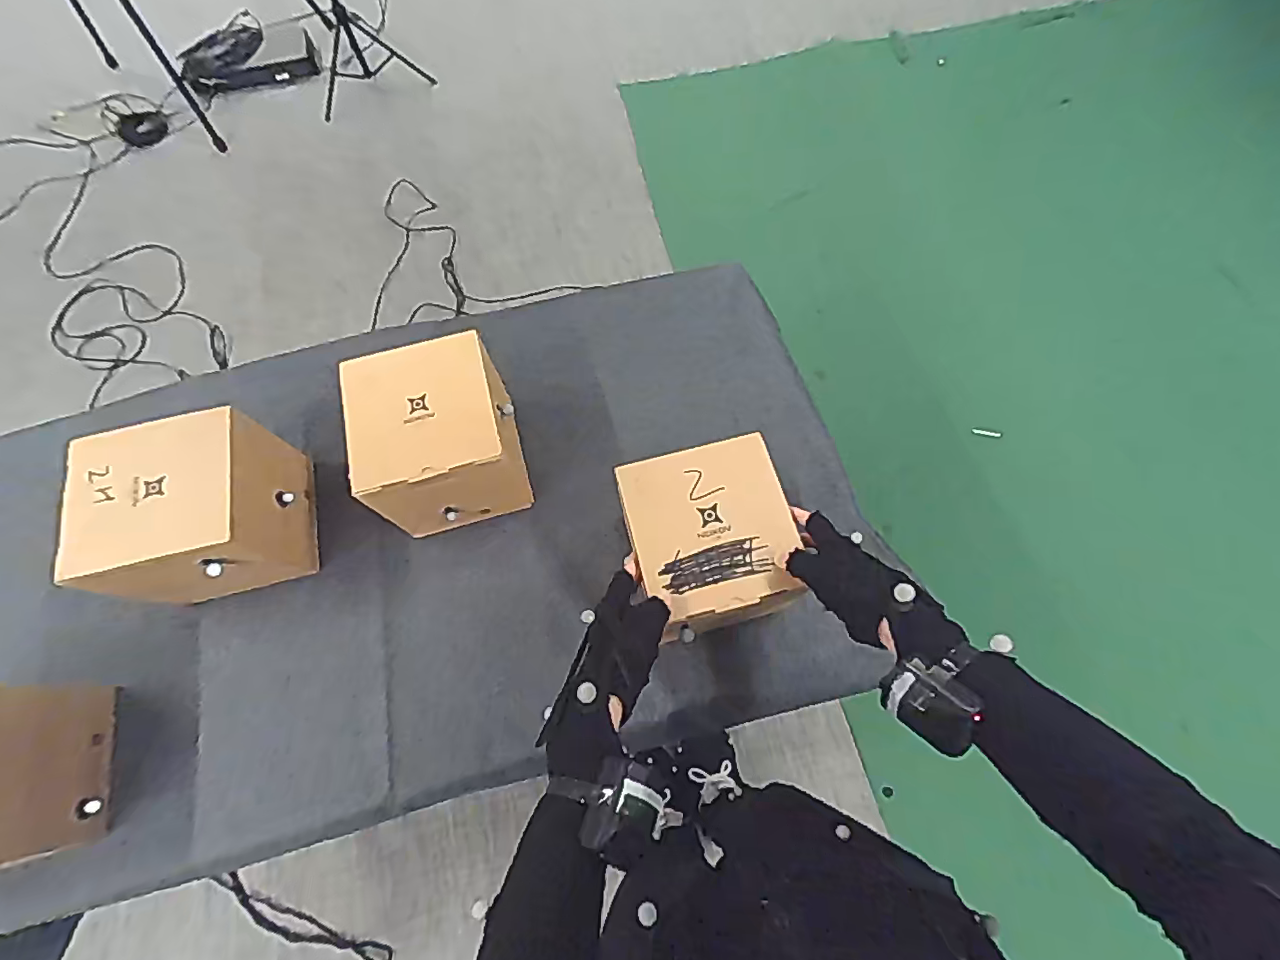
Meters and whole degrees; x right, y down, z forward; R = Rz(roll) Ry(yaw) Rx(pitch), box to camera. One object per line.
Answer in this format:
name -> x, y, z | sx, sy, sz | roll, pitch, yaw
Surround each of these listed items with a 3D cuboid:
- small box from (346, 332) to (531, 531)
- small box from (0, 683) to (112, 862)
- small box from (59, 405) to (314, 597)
small box -> -0.247, -0.054, 0.688 | 0.168, 0.176, 0.179 | -15, 70, -5
small box -> -0.700, 0.309, 0.548 | 0.179, 0.176, 0.168 | -15, 69, -5
small box -> -0.521, 0.034, 0.653 | 0.179, 0.176, 0.168 | -13, 70, -5
